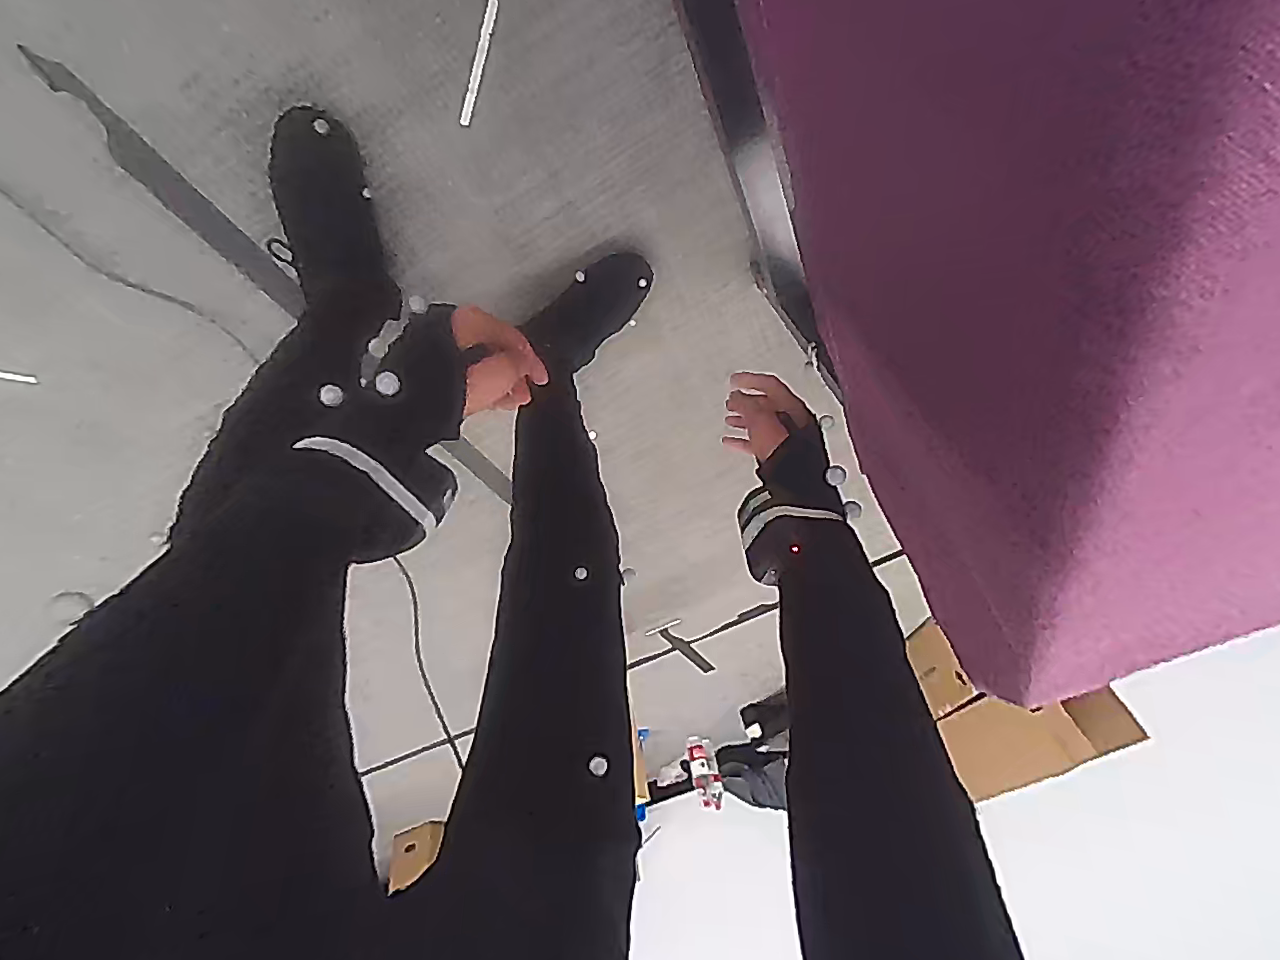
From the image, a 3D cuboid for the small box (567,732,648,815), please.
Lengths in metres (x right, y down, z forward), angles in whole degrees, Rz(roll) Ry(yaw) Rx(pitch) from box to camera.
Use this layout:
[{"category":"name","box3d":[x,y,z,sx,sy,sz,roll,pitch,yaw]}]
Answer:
[{"category":"small box","box3d":[-0.094,0.843,1.554,0.168,0.176,0.179,-25,138,13]}]
